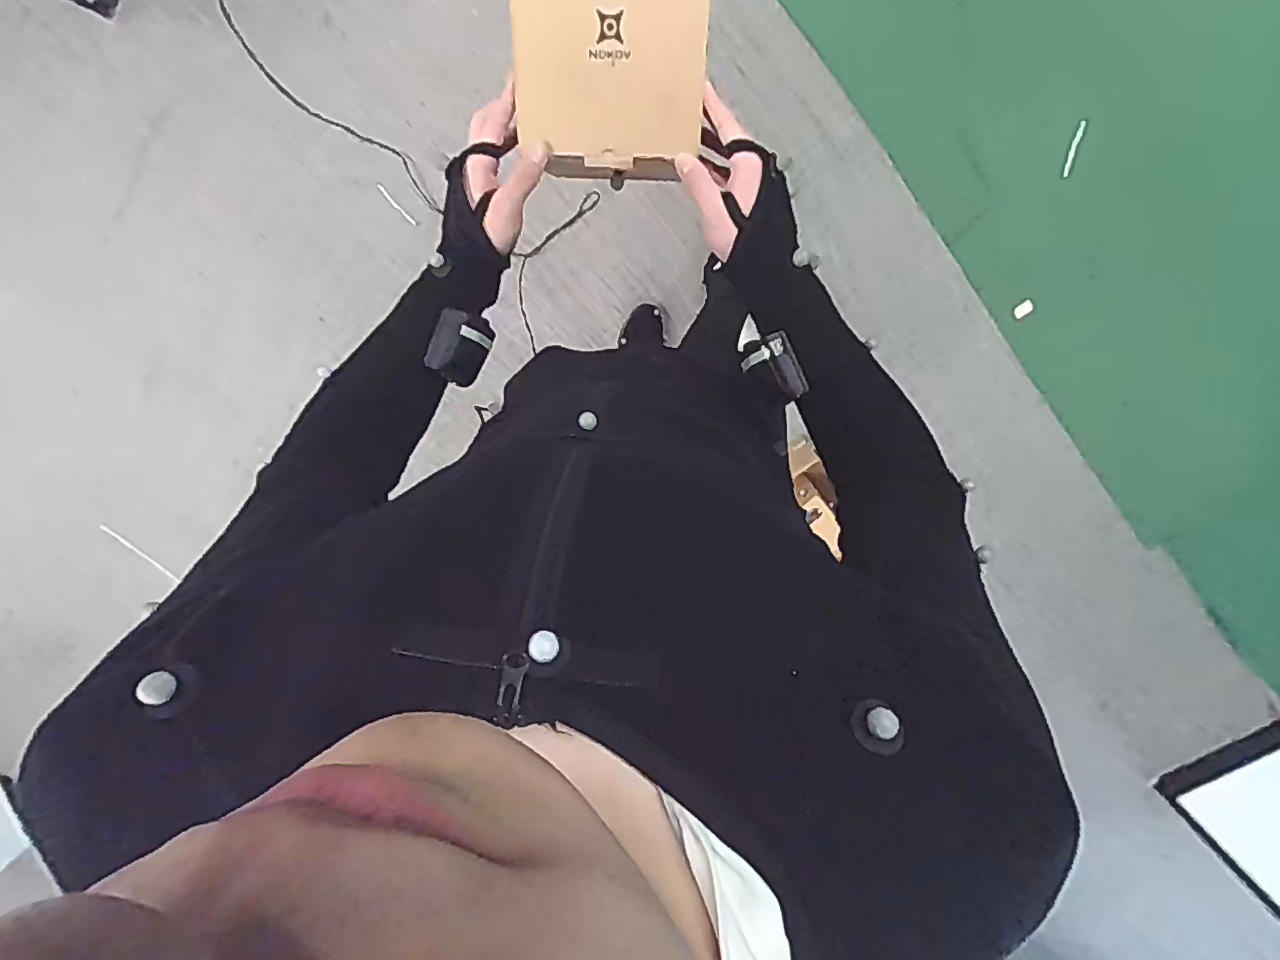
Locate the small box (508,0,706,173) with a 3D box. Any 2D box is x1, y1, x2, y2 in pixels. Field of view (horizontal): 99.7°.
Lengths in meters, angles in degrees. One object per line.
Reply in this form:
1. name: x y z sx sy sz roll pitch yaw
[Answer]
1. small box: -0.023 -0.403 0.524 0.168 0.176 0.179 2 115 3
